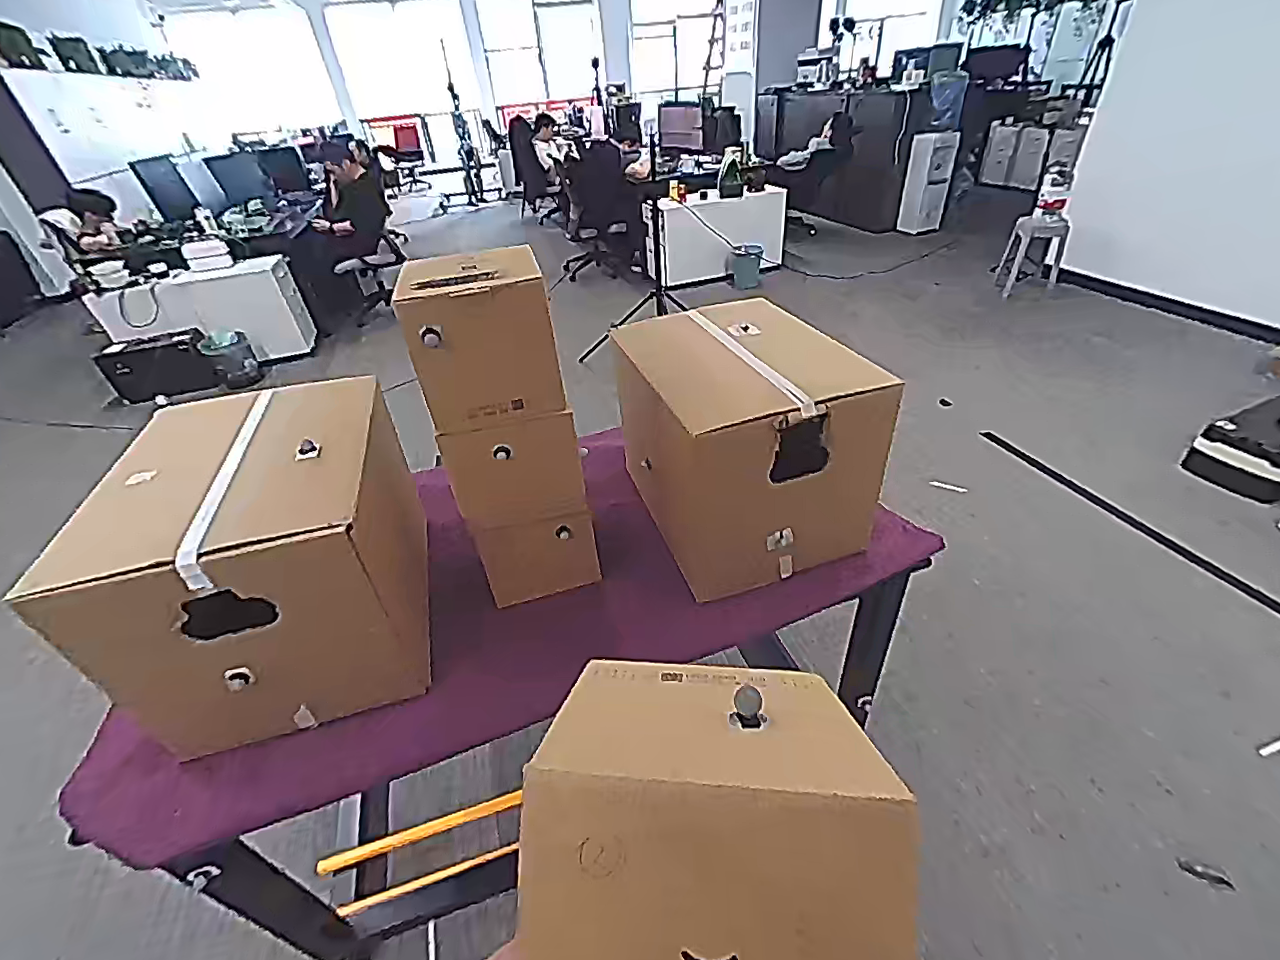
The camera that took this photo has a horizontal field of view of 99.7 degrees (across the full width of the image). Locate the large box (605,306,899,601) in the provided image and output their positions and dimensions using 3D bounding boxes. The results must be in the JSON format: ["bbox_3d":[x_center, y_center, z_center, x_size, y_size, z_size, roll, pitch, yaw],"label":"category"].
[{"bbox_3d":[0.159,-0.069,0.931,0.320,0.320,0.408,-14,36,-13],"label":"large box"}]
